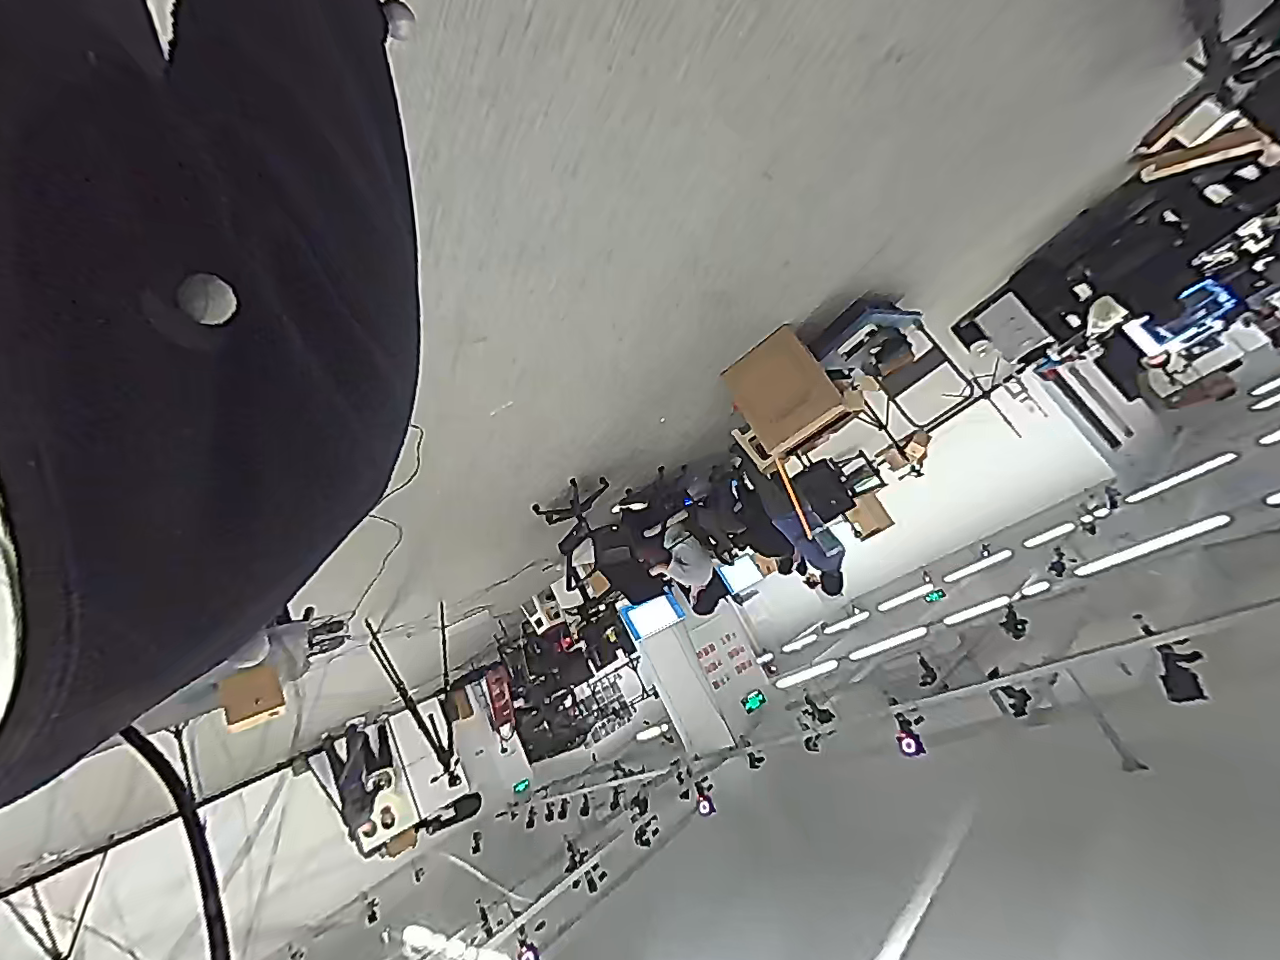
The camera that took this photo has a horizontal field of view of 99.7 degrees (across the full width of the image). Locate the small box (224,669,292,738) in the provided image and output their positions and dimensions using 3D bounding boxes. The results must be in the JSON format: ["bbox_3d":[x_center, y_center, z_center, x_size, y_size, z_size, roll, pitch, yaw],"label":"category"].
[{"bbox_3d":[-1.418,0.827,2.011,0.179,0.176,0.168,-15,157,-37],"label":"small box"}]
